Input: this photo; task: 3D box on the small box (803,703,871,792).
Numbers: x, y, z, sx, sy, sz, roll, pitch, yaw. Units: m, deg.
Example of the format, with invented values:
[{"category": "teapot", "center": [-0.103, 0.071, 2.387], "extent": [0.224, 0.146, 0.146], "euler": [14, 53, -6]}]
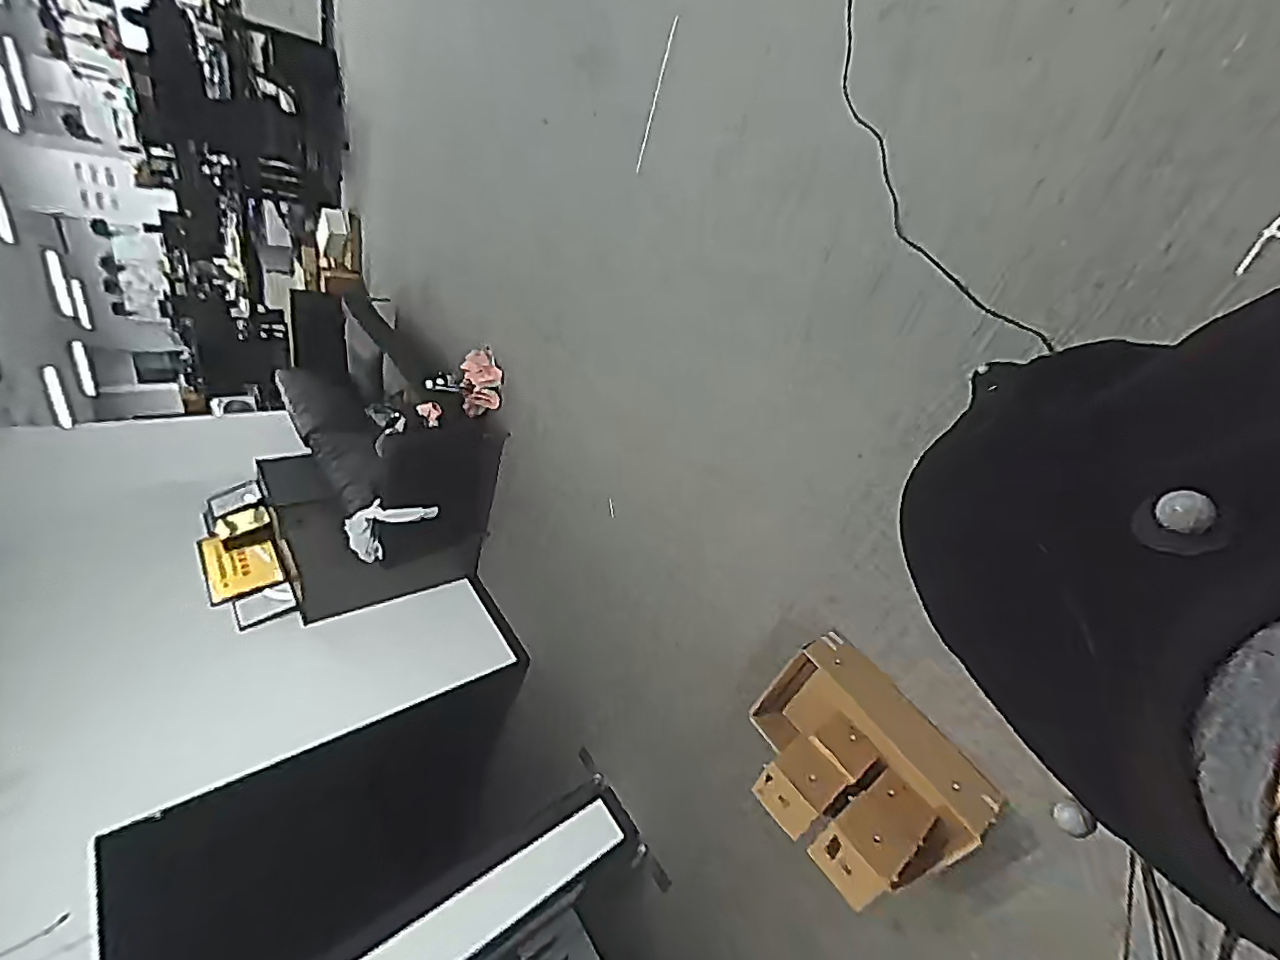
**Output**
[{"category": "small box", "center": [0.594, 0.847, 1.708], "extent": [0.168, 0.176, 0.179], "euler": [46, 130, 30]}]

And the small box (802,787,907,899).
[{"category": "small box", "center": [0.590, 0.986, 1.490], "extent": [0.179, 0.176, 0.168], "euler": [44, 128, 34]}]

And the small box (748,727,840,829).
[{"category": "small box", "center": [0.462, 0.883, 1.615], "extent": [0.179, 0.176, 0.168], "euler": [42, 128, 33]}]
